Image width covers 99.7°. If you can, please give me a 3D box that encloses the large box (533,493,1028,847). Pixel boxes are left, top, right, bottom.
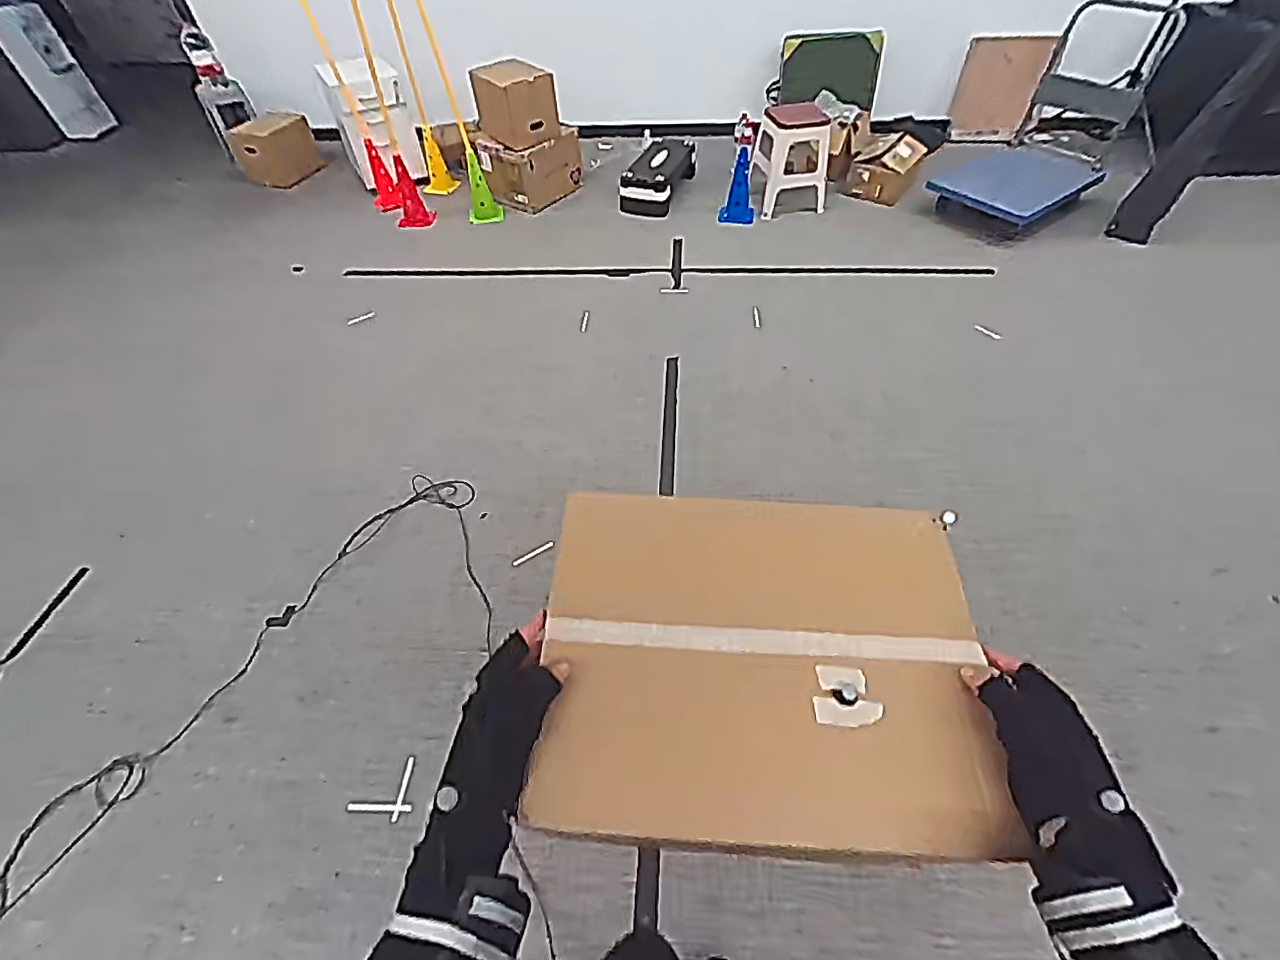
[{"bbox_3d":[0.111,0.233,0.632,0.408,0.320,0.320,3,55,0],"label":"large box"}]
